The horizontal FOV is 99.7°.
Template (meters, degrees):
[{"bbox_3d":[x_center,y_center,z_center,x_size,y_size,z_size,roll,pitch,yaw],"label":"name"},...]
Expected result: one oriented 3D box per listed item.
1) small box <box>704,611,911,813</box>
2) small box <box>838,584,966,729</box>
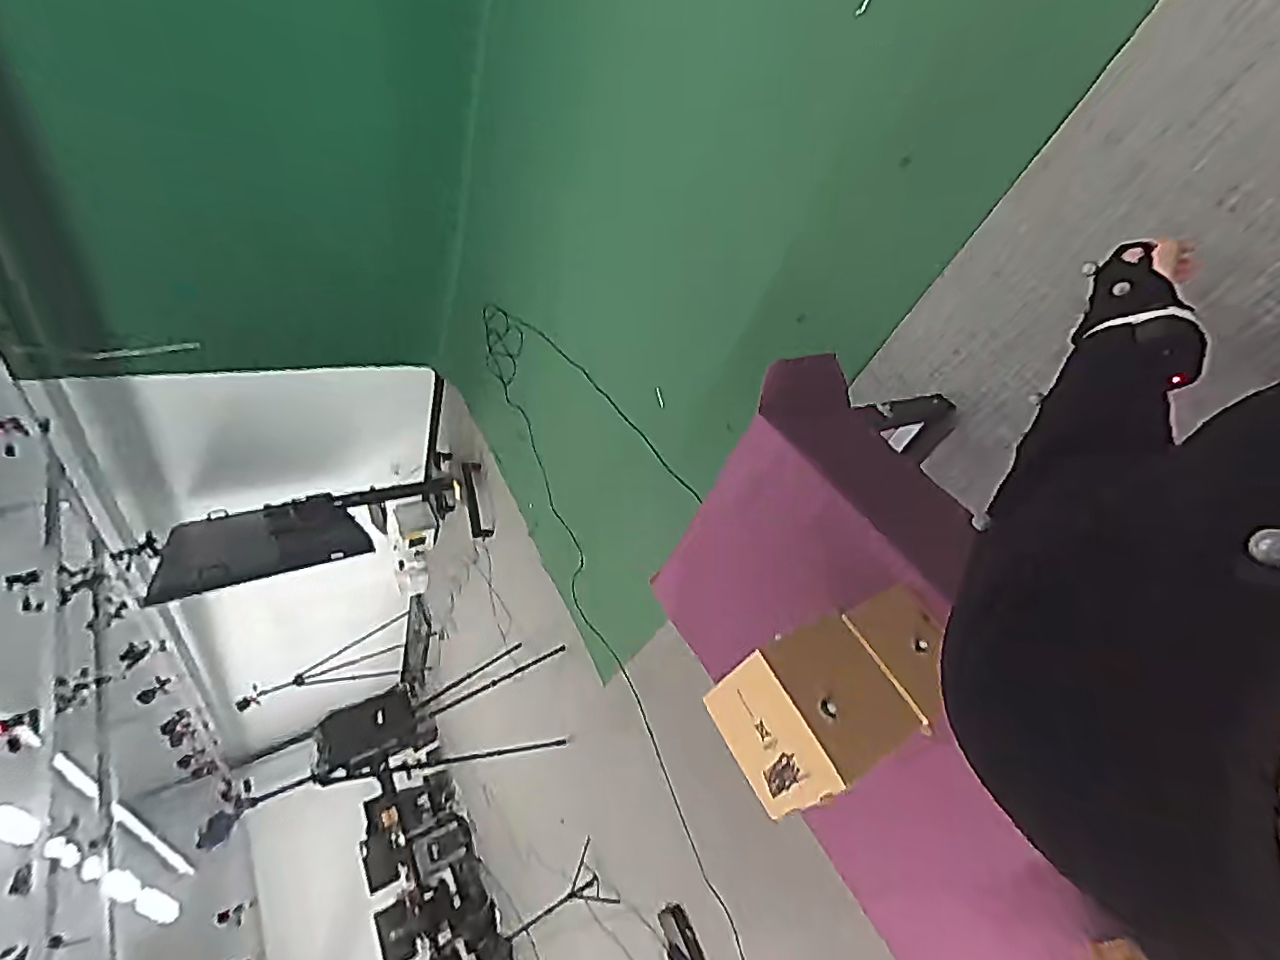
[{"bbox_3d":[0.227,0.310,0.743,0.179,0.176,0.168,57,139,27],"label":"small box"},{"bbox_3d":[0.363,0.286,0.833,0.168,0.176,0.179,56,139,28],"label":"small box"}]
